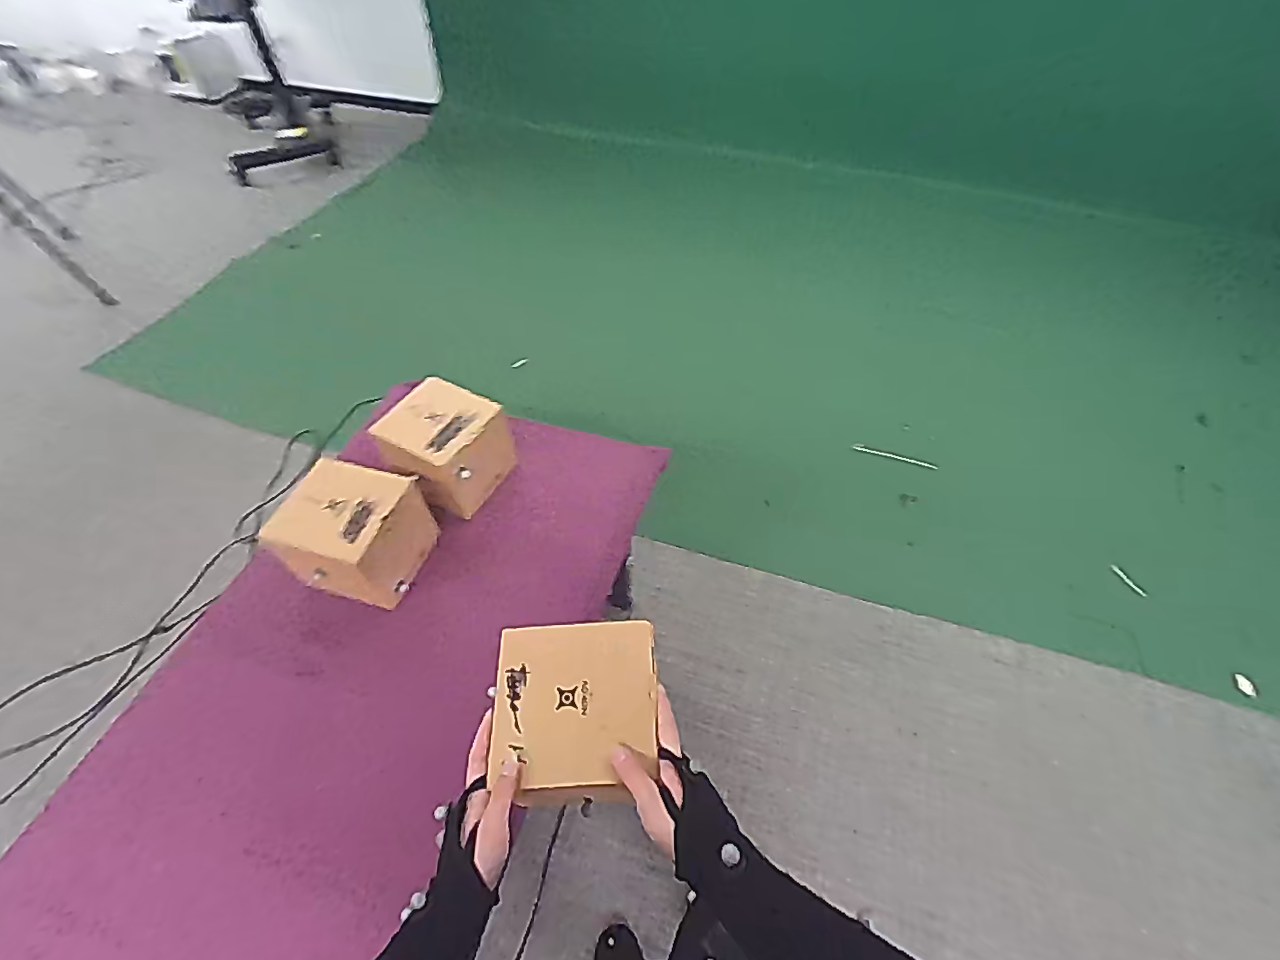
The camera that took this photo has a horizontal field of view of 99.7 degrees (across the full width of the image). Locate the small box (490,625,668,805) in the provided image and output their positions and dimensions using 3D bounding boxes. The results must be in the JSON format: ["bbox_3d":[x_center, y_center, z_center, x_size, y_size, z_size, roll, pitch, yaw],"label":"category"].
[{"bbox_3d":[-0.060,0.279,0.638,0.179,0.176,0.168,-1,54,1],"label":"small box"}]
